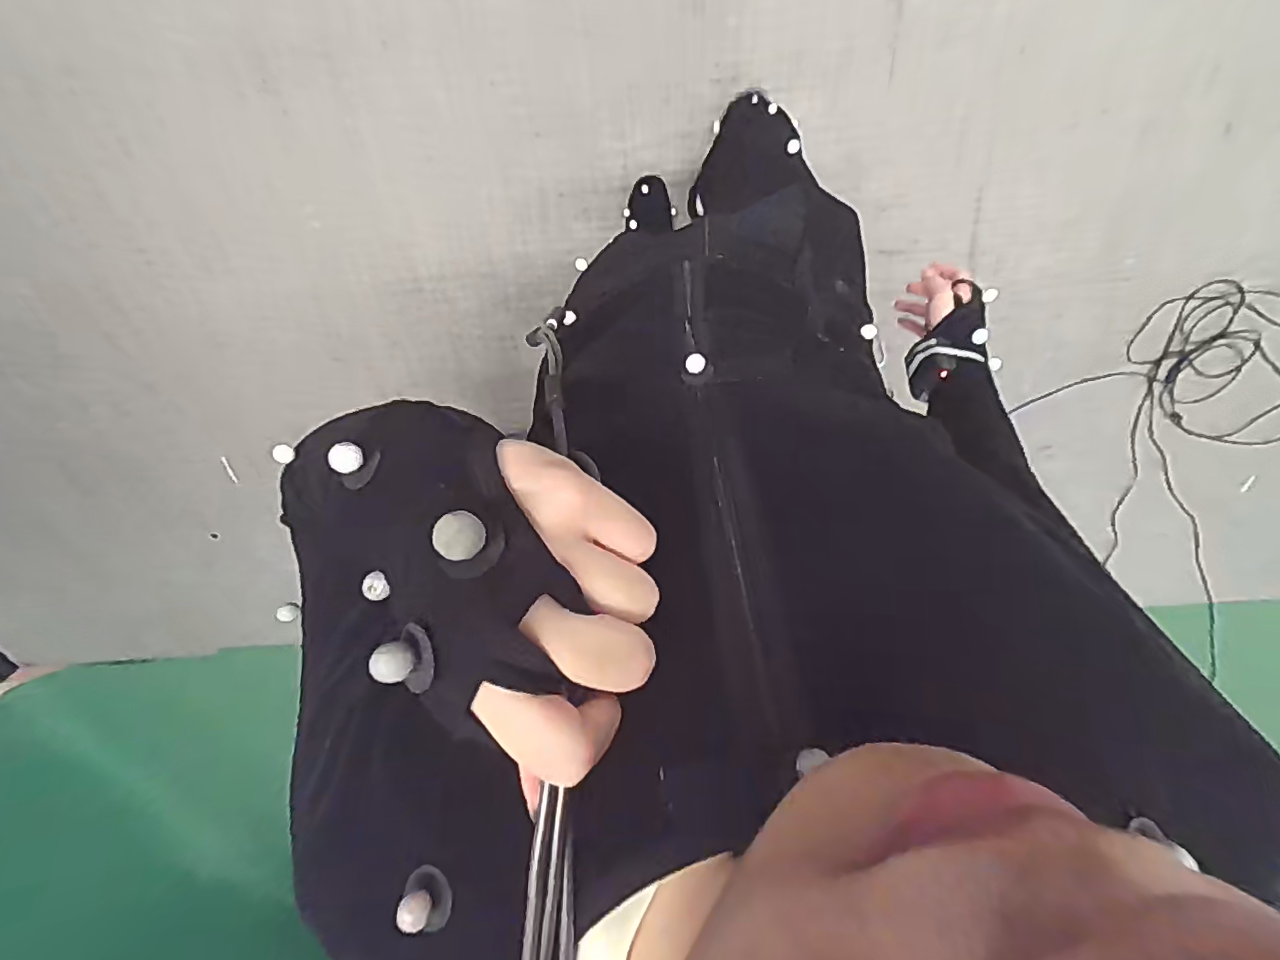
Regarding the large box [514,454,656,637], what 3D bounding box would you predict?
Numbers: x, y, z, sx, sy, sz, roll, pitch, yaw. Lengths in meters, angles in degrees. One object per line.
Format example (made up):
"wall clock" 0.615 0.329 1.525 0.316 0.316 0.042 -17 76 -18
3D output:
"large box" -0.139 0.185 1.551 0.320 0.320 0.408 -7 124 3
